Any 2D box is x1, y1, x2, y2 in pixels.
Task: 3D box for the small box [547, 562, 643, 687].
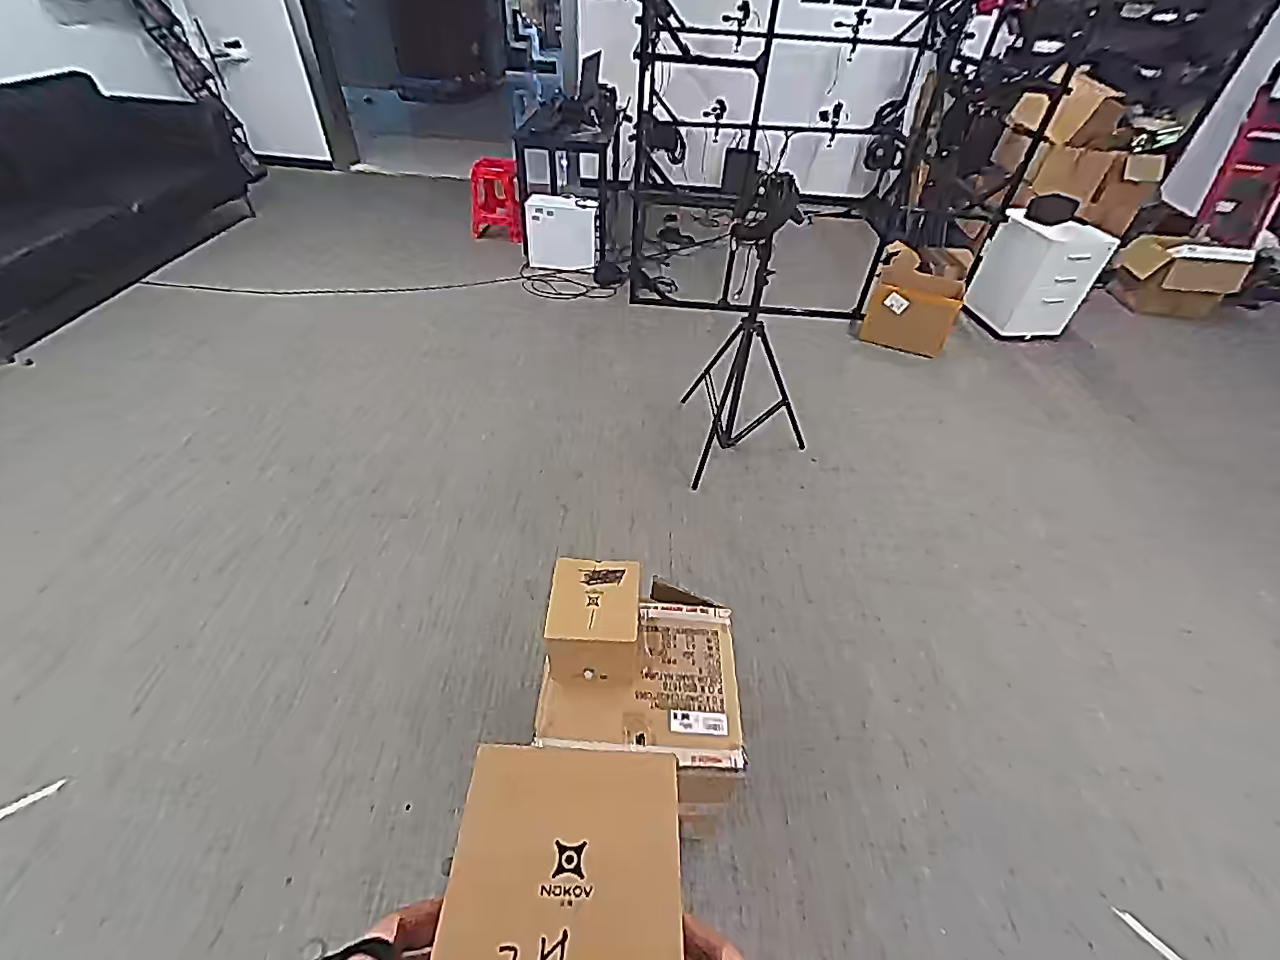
[{"bbox_3d":[-0.081,0.283,1.059,0.168,0.176,0.179,2,46,1],"label":"small box"}]
